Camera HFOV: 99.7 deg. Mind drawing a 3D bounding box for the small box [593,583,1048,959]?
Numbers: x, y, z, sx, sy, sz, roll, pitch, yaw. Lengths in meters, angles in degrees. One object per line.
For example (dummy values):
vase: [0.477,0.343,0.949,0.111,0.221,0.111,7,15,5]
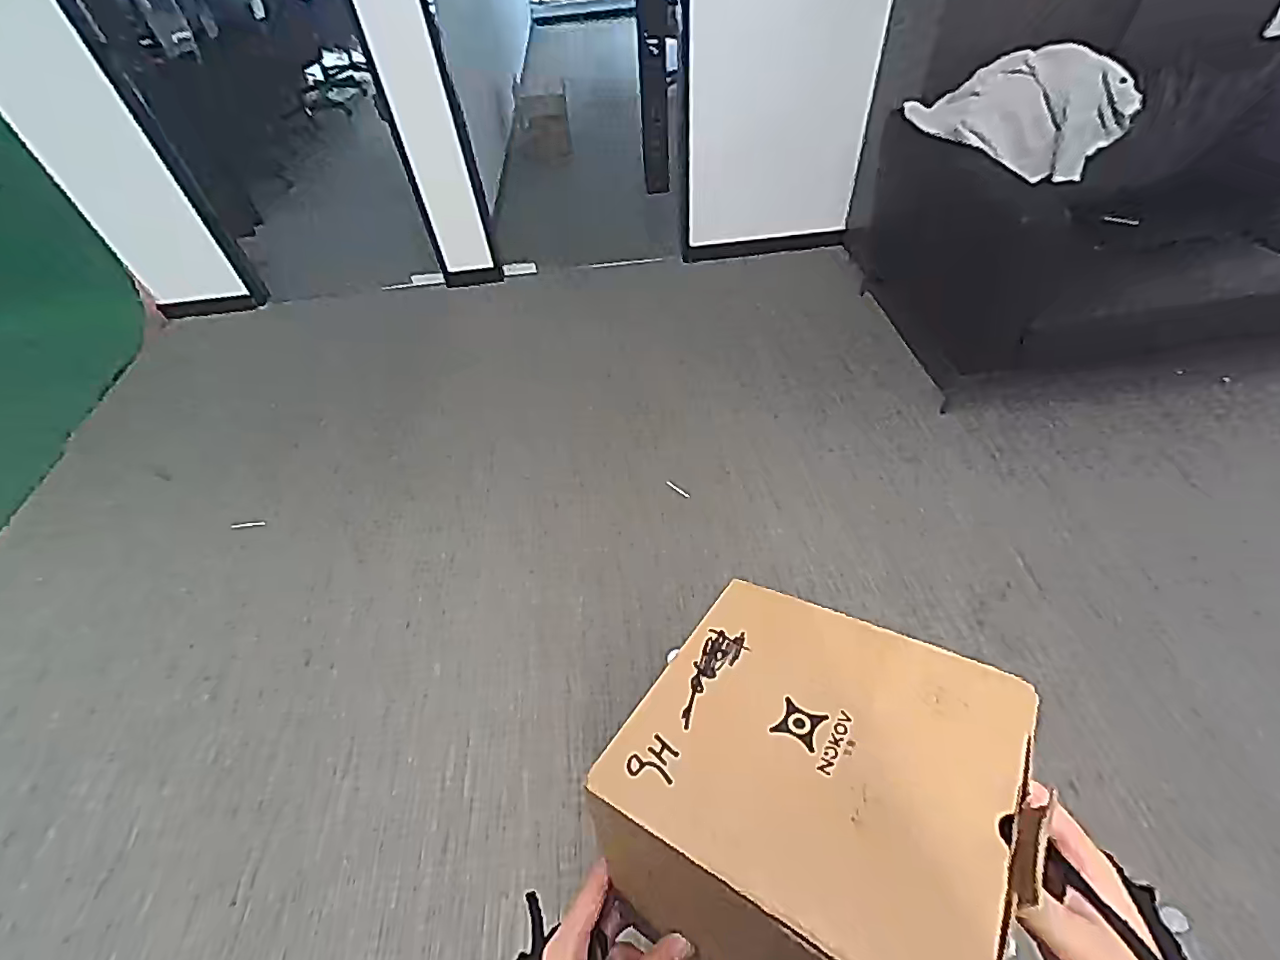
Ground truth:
small box: [0.099,0.199,0.316,0.179,0.176,0.168,18,40,33]
